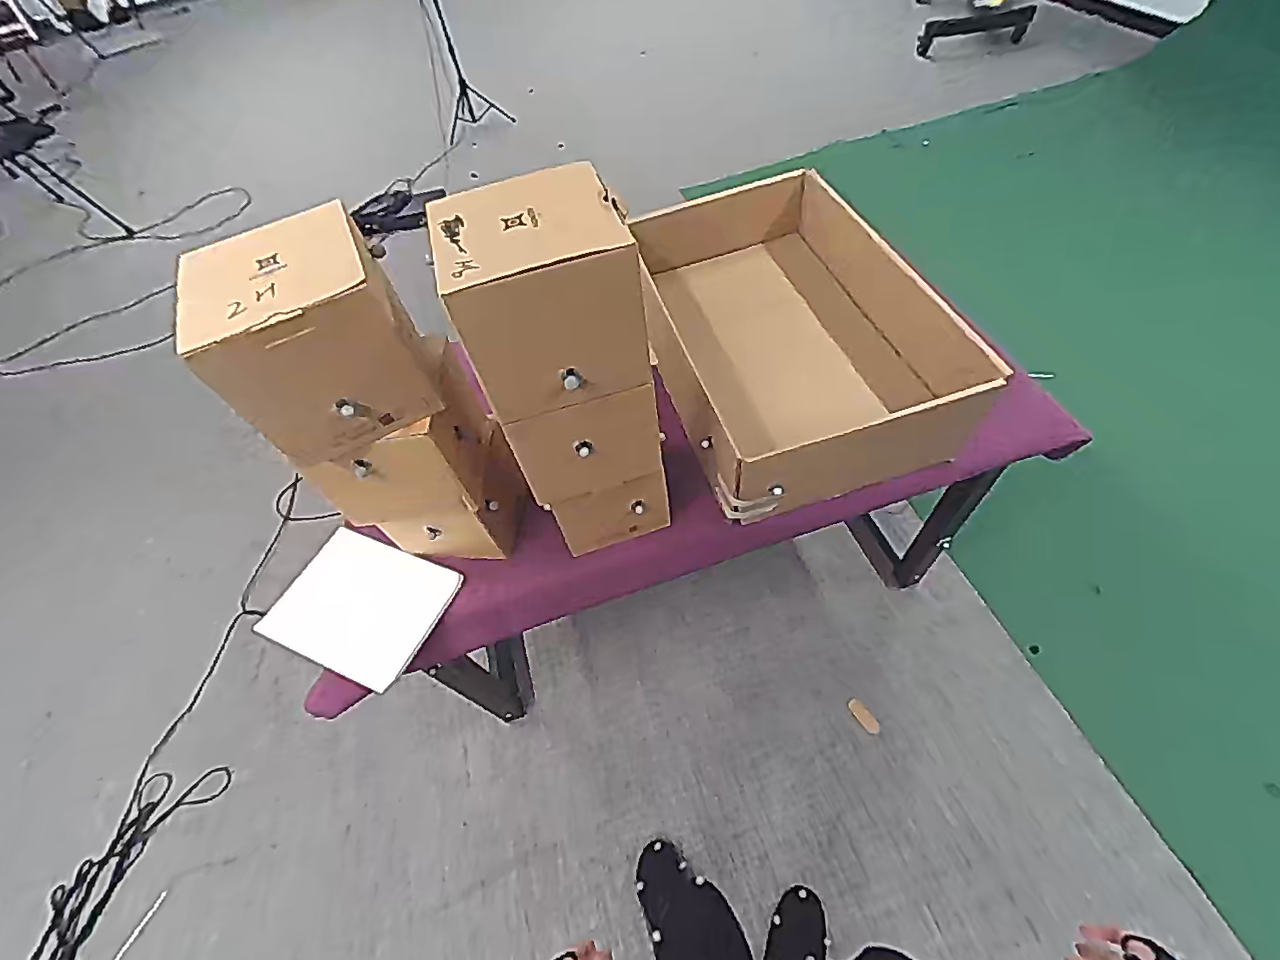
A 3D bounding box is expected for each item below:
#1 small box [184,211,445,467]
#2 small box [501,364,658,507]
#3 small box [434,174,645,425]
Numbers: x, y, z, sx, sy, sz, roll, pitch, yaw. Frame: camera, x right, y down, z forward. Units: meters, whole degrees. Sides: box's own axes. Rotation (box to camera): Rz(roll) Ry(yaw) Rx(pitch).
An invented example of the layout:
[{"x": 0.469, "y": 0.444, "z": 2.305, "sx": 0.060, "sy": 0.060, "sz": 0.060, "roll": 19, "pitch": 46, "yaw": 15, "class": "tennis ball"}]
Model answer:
[{"x": -0.334, "y": -0.147, "z": 0.578, "sx": 0.168, "sy": 0.176, "sz": 0.179, "roll": -26, "pitch": 56, "yaw": -9, "class": "small box"}, {"x": -0.079, "y": -0.090, "z": 0.704, "sx": 0.179, "sy": 0.176, "sz": 0.168, "roll": -17, "pitch": 54, "yaw": -4, "class": "small box"}, {"x": -0.097, "y": -0.185, "z": 0.571, "sx": 0.179, "sy": 0.176, "sz": 0.168, "roll": -16, "pitch": 53, "yaw": -5, "class": "small box"}]
